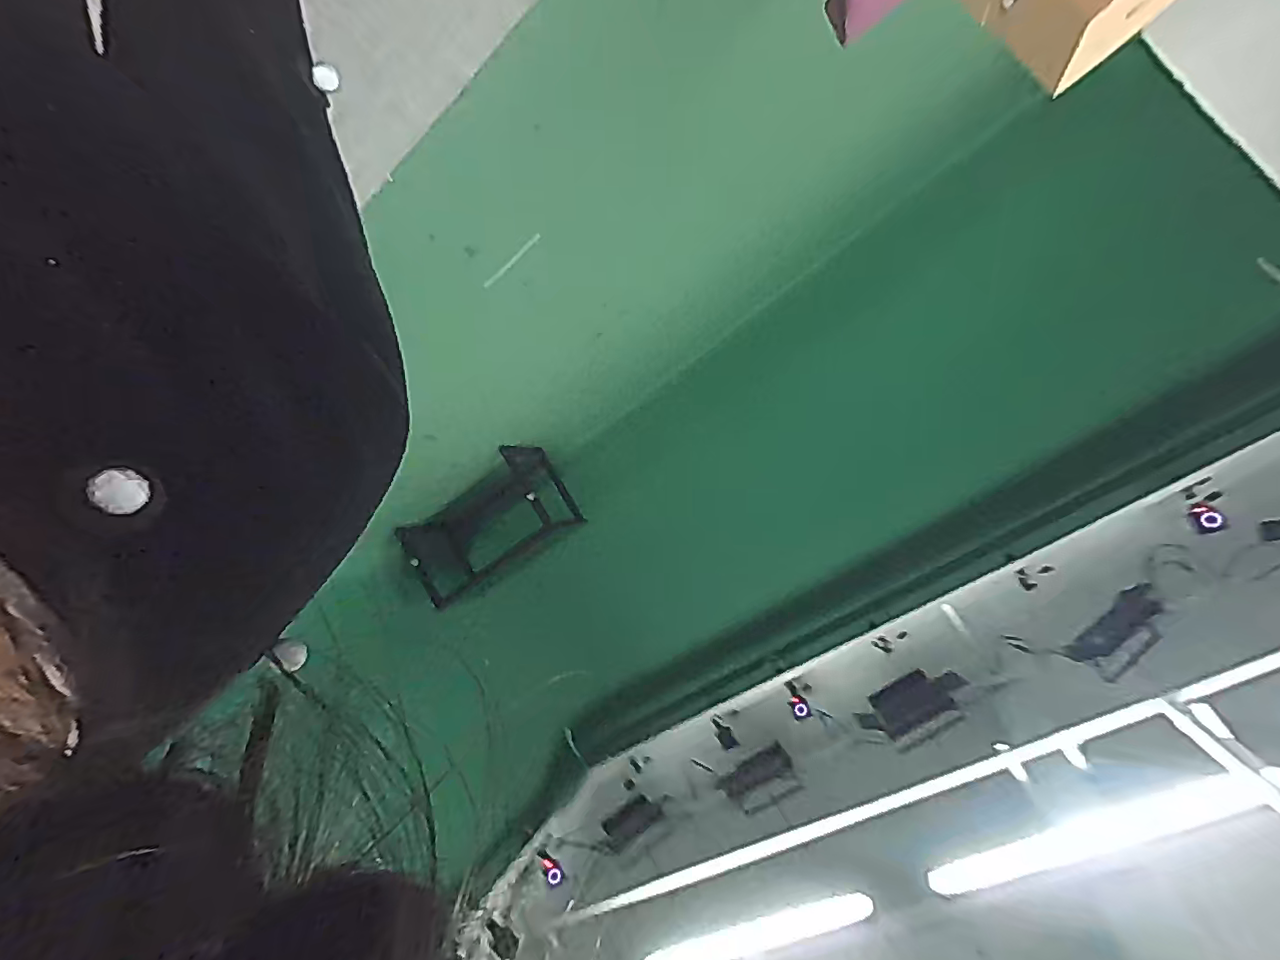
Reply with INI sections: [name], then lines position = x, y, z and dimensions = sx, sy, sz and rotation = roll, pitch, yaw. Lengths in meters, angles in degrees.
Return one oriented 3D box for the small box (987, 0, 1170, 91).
[small box]
position = 0.621, -0.702, 0.733
dimensions = 0.179, 0.176, 0.168
rotation = -36, 169, 21
